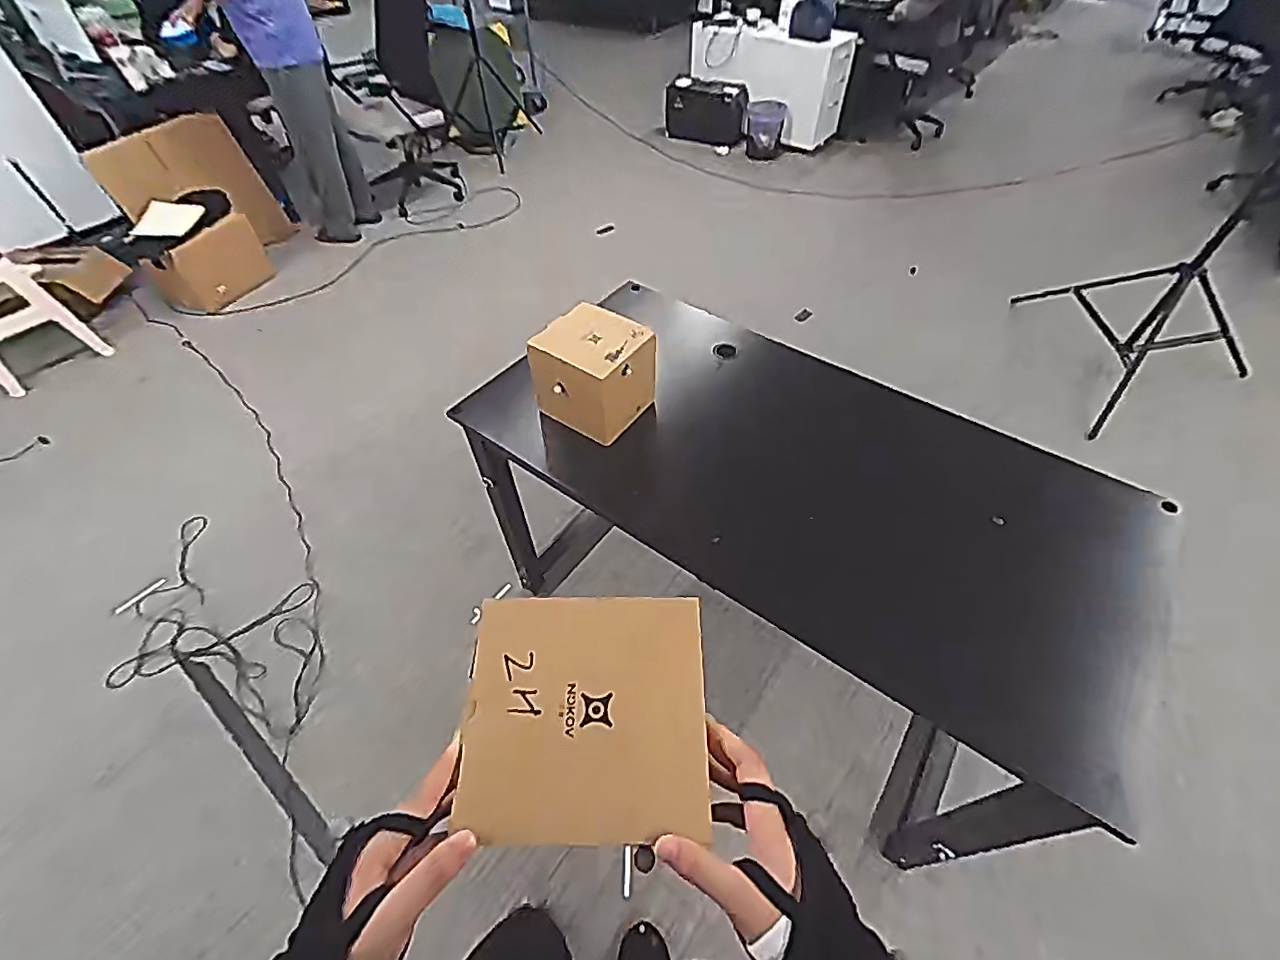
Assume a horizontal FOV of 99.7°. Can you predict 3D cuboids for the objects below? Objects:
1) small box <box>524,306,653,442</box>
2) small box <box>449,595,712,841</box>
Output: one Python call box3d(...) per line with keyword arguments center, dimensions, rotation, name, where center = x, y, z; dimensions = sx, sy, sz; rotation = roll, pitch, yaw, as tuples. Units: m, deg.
box3d(center=(-0.092, -0.200, 1.035), dimensions=(0.179, 0.176, 0.168), rotation=(28, 56, 22), name="small box")
box3d(center=(-0.039, 0.204, 0.464), dimensions=(0.179, 0.176, 0.168), rotation=(0, 59, 0), name="small box")
